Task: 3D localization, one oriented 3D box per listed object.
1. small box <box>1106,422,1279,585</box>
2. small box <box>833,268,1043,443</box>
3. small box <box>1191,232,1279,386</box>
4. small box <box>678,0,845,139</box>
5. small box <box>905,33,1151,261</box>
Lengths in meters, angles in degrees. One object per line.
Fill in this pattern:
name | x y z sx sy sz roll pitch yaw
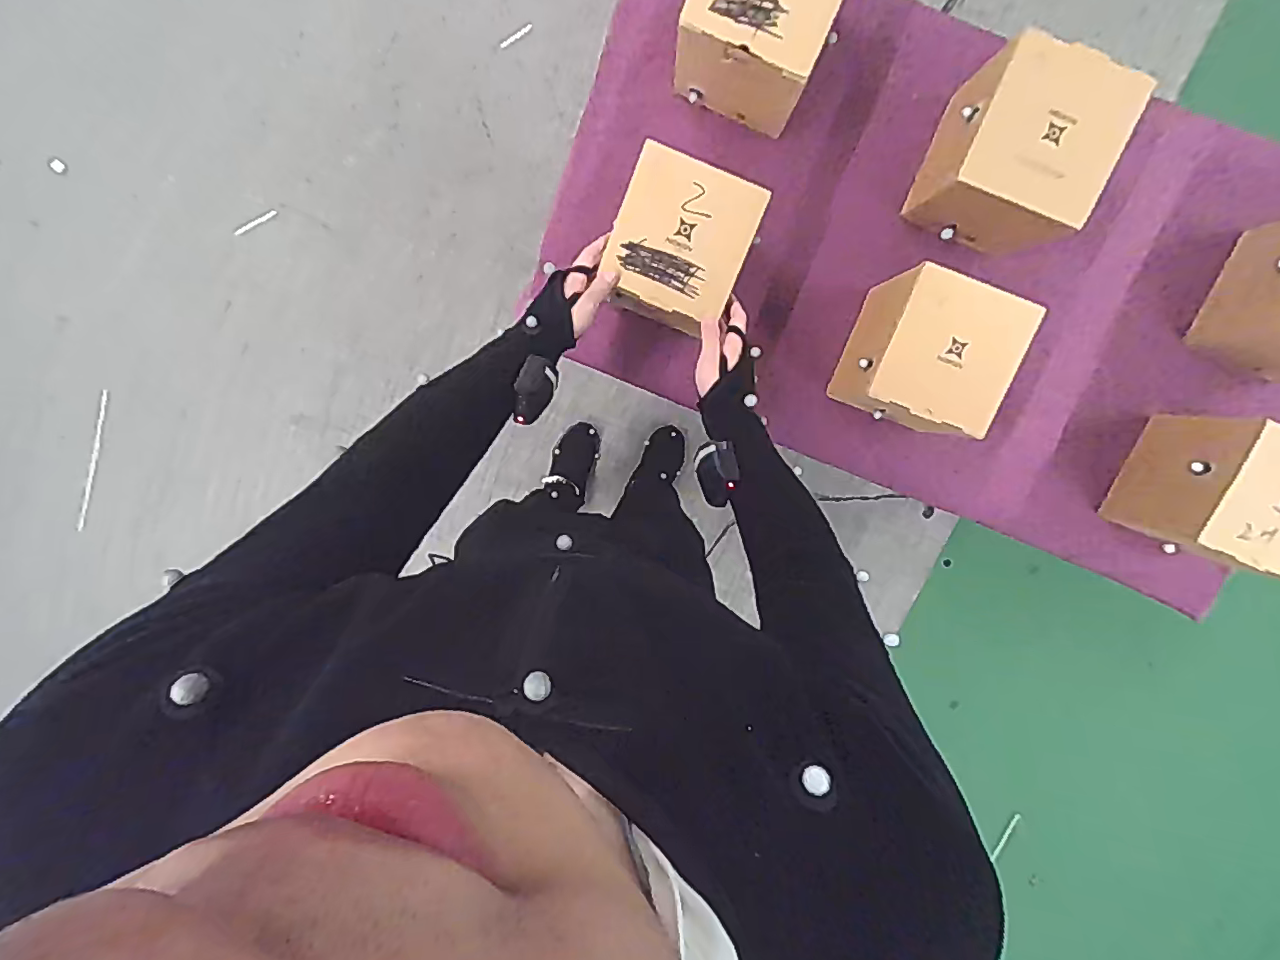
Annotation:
small box | 0.834 0.025 0.771 0.168 0.176 0.179 23 99 0
small box | 0.397 -0.167 0.757 0.168 0.176 0.179 20 100 -2
small box | 0.921 -0.234 0.726 0.168 0.176 0.179 21 100 -1
small box | 0.157 -0.580 0.689 0.168 0.176 0.179 23 101 -3
small box | 0.486 -0.416 0.711 0.168 0.176 0.179 22 101 -1
